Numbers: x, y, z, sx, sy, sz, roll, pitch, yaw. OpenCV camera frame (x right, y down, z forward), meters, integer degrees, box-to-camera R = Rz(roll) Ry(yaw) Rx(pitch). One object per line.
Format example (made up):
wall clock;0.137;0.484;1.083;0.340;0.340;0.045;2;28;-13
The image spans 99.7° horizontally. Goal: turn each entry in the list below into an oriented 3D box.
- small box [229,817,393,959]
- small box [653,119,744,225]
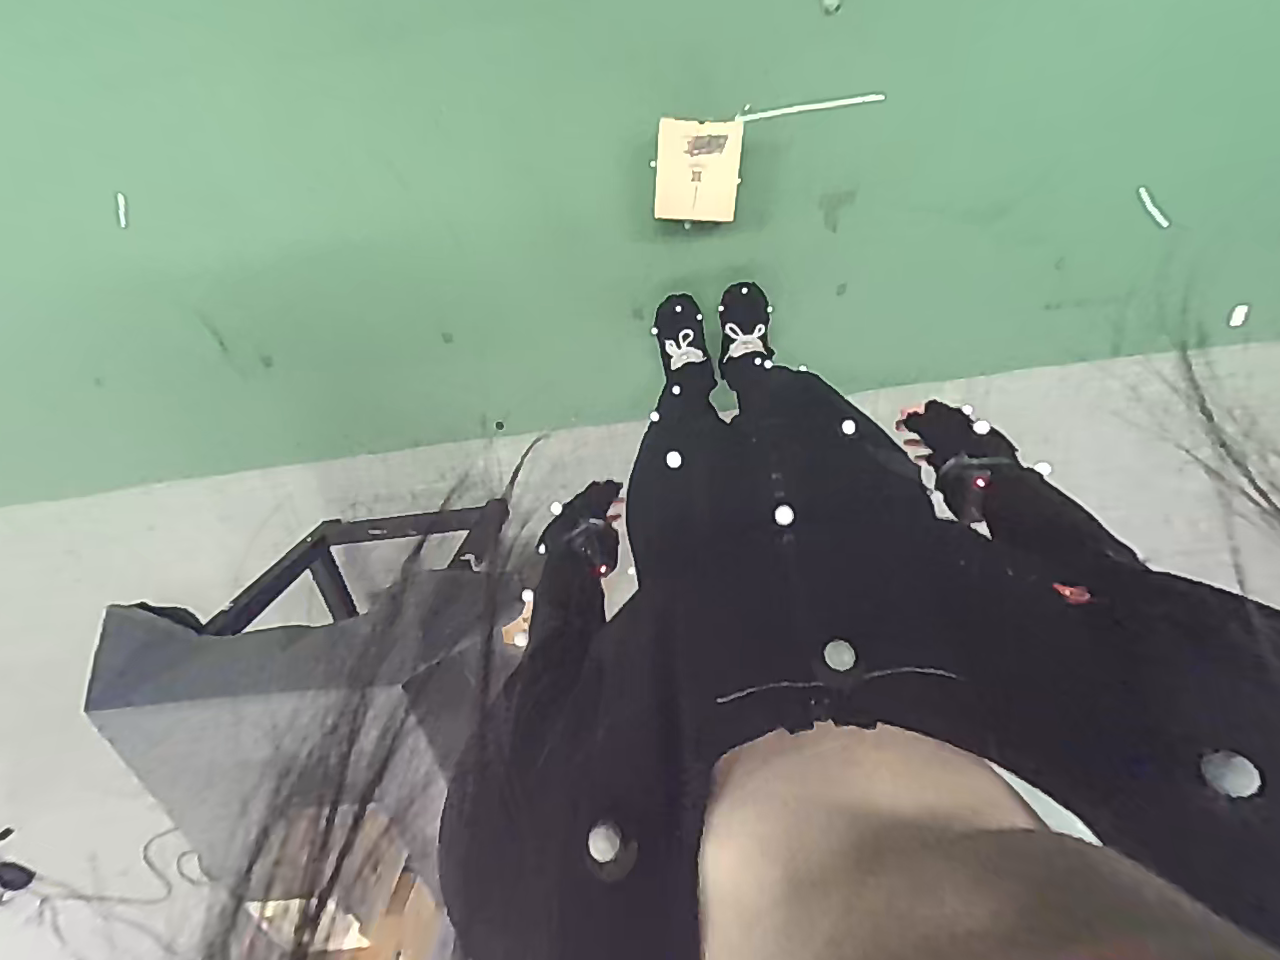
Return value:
small box;-0.579;0.748;0.988;0.179;0.176;0.168;-9;114;5
small box;0.115;-0.641;1.141;0.168;0.176;0.179;3;115;1
